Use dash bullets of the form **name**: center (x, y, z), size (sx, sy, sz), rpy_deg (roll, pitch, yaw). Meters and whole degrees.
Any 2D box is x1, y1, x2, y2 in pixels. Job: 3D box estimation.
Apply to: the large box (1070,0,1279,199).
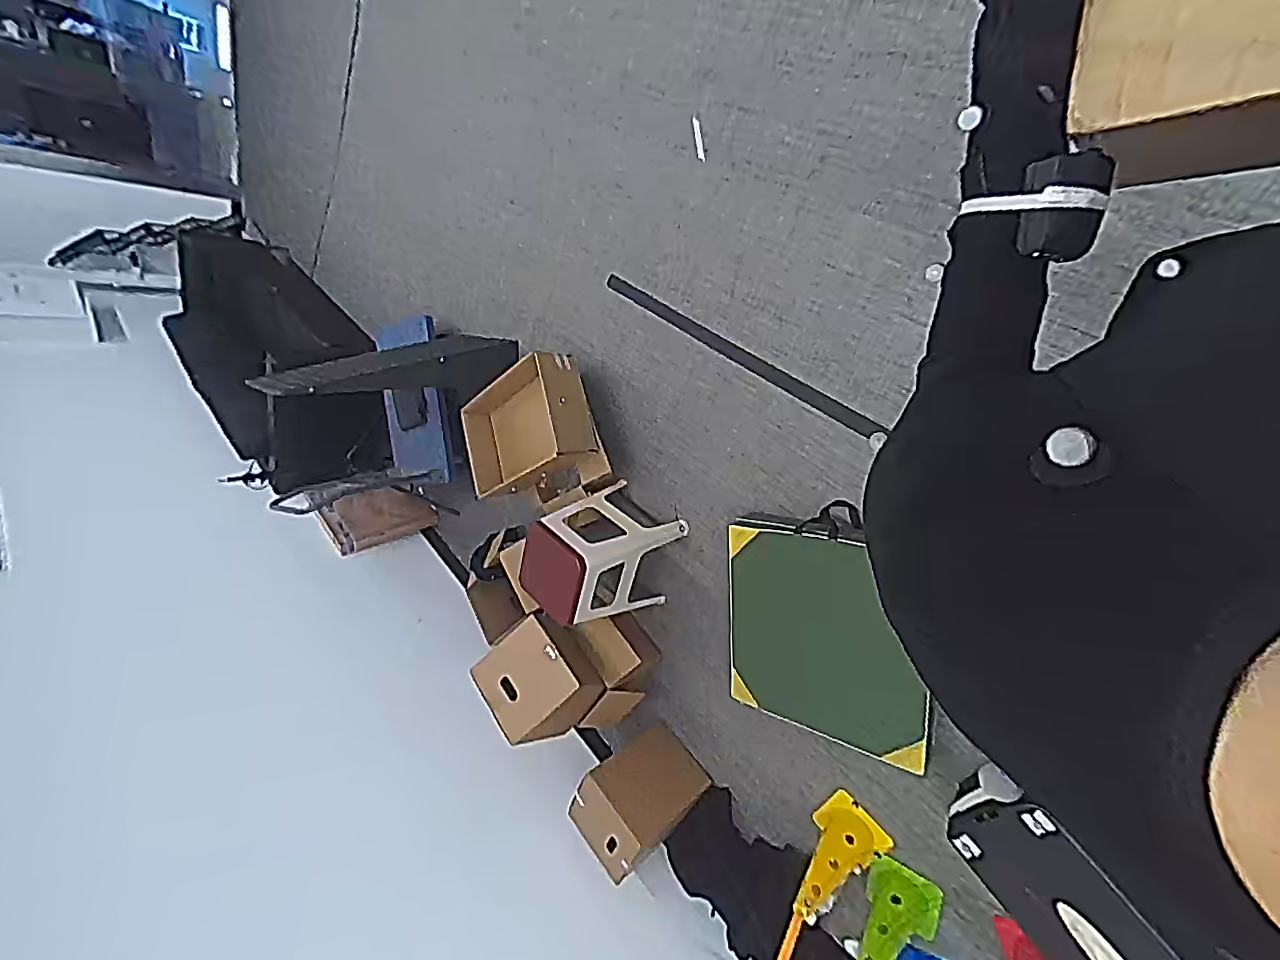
- **large box**: center (0.539, -0.383, 0.314), size (0.408, 0.320, 0.320), rpy_deg (13, 114, 41)
